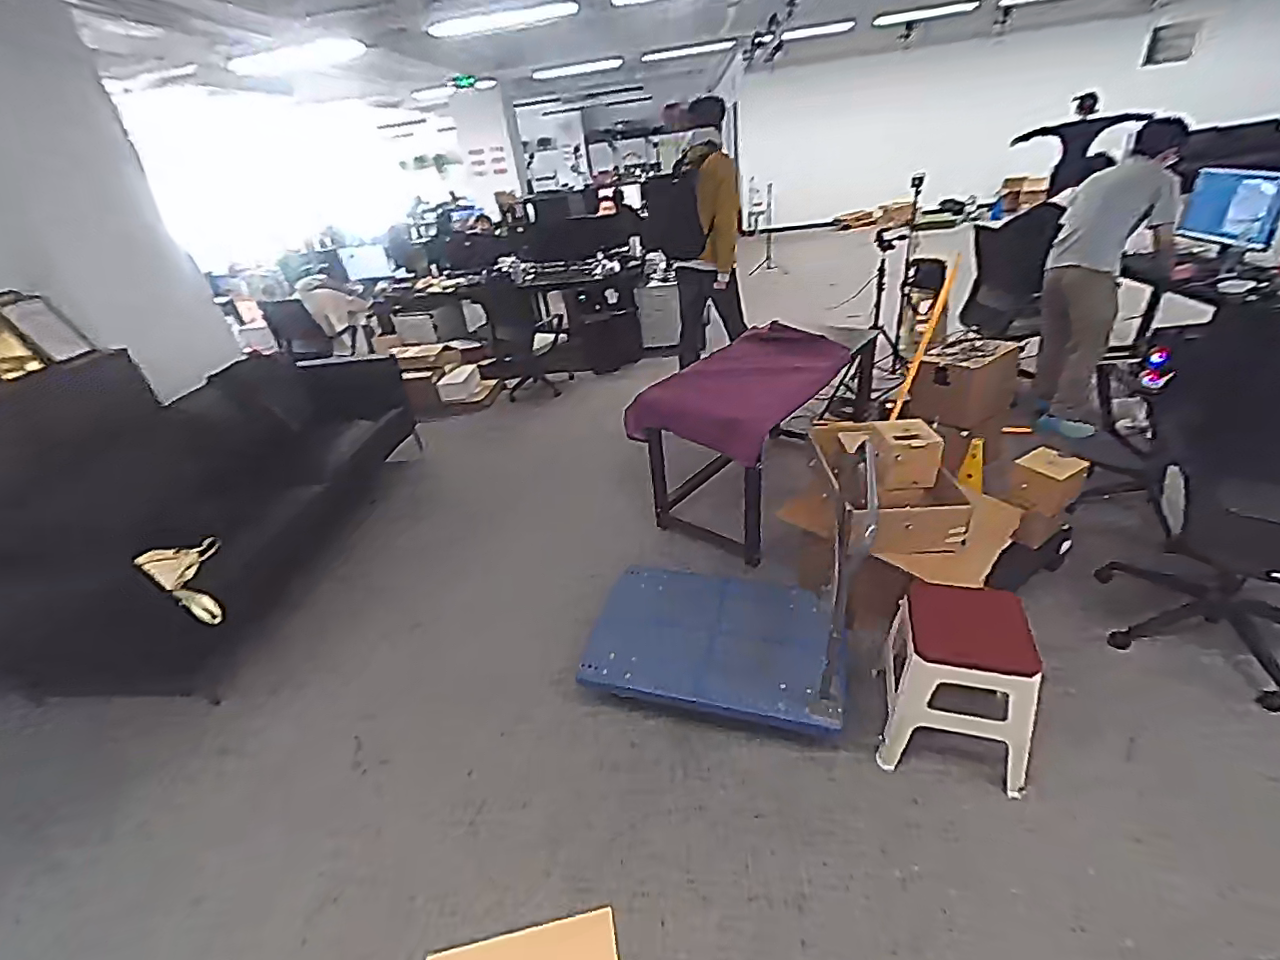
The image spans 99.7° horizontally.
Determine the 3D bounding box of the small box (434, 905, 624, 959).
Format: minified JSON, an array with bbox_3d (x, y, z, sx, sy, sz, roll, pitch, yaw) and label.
[{"bbox_3d":[-0.085,0.514,0.453,0.168,0.176,0.179,-8,27,-6],"label":"small box"}]
